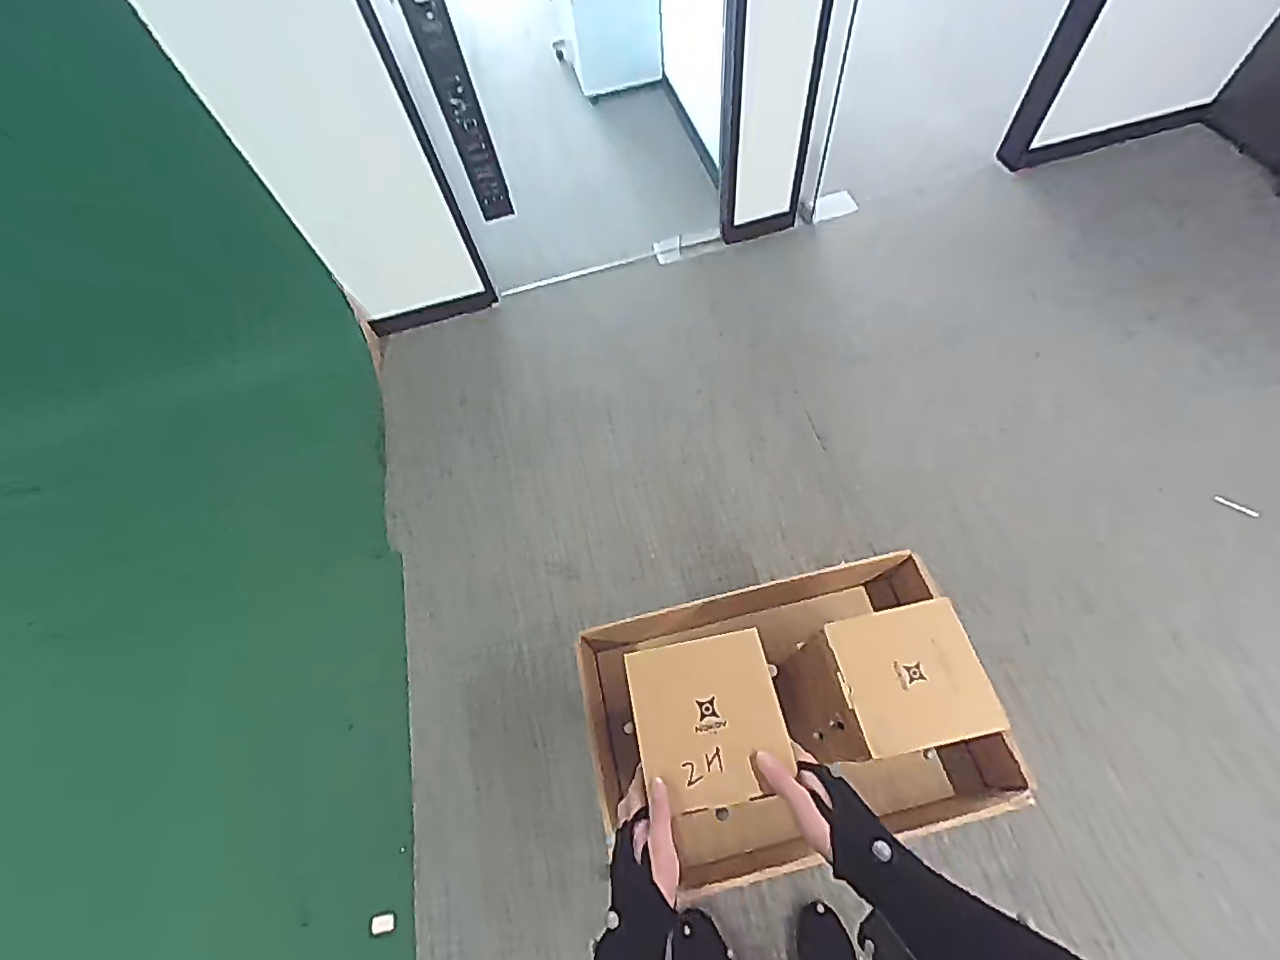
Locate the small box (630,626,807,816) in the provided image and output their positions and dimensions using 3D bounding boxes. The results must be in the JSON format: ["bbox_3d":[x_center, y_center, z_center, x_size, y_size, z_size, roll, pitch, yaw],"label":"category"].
[{"bbox_3d":[0.083,0.300,0.667,0.168,0.176,0.179,-10,60,-2],"label":"small box"}]

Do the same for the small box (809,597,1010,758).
[{"bbox_3d":[0.345,0.277,0.742,0.179,0.176,0.168,-12,63,-2],"label":"small box"}]
